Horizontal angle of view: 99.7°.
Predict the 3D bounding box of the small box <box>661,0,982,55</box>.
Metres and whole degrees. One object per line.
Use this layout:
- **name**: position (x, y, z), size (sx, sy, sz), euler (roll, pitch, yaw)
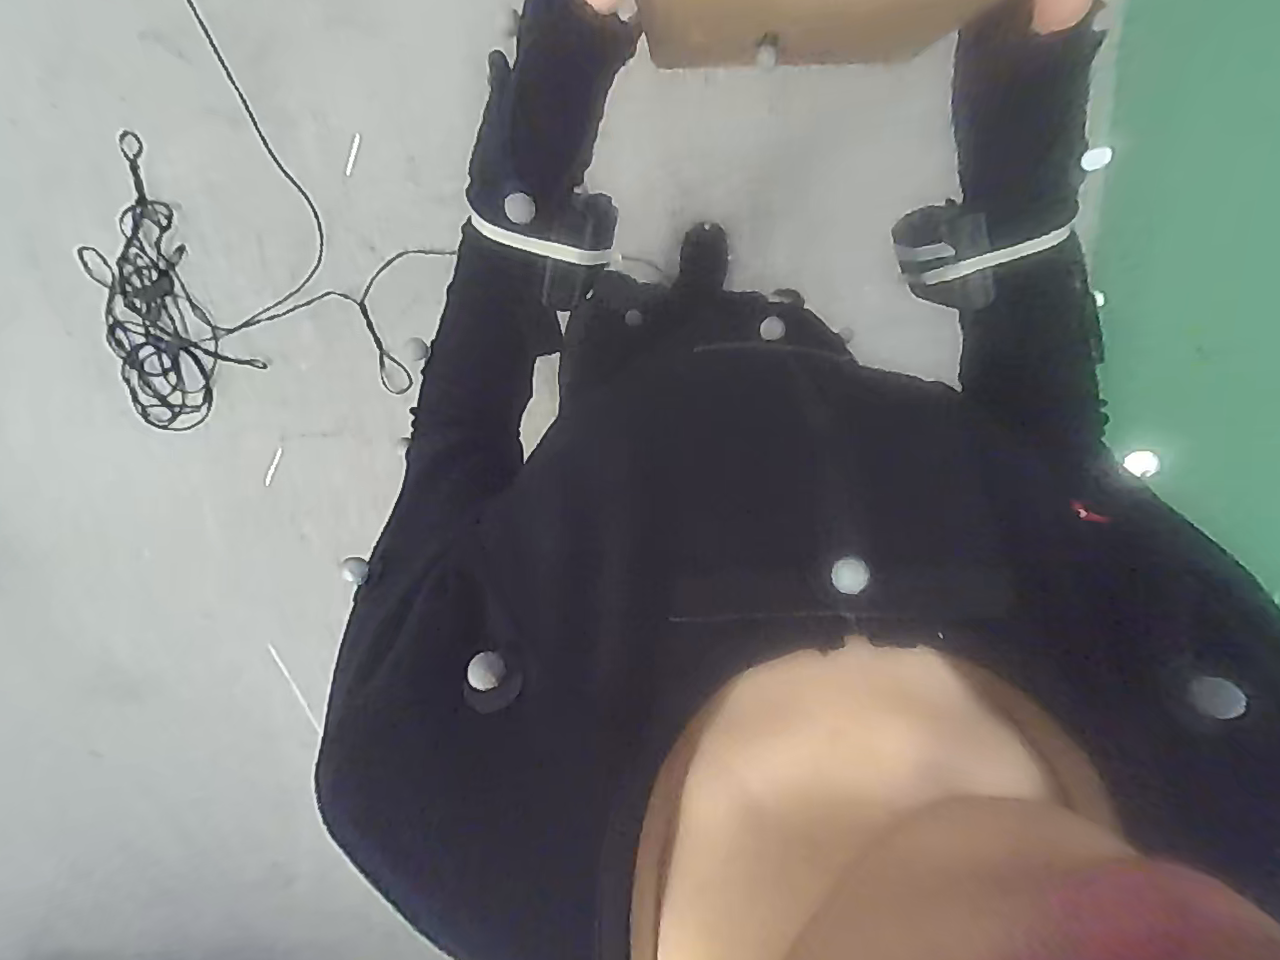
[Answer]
- **small box**: position (0.088, -0.314, 0.234), size (0.168, 0.176, 0.179), euler (2, 118, 4)
